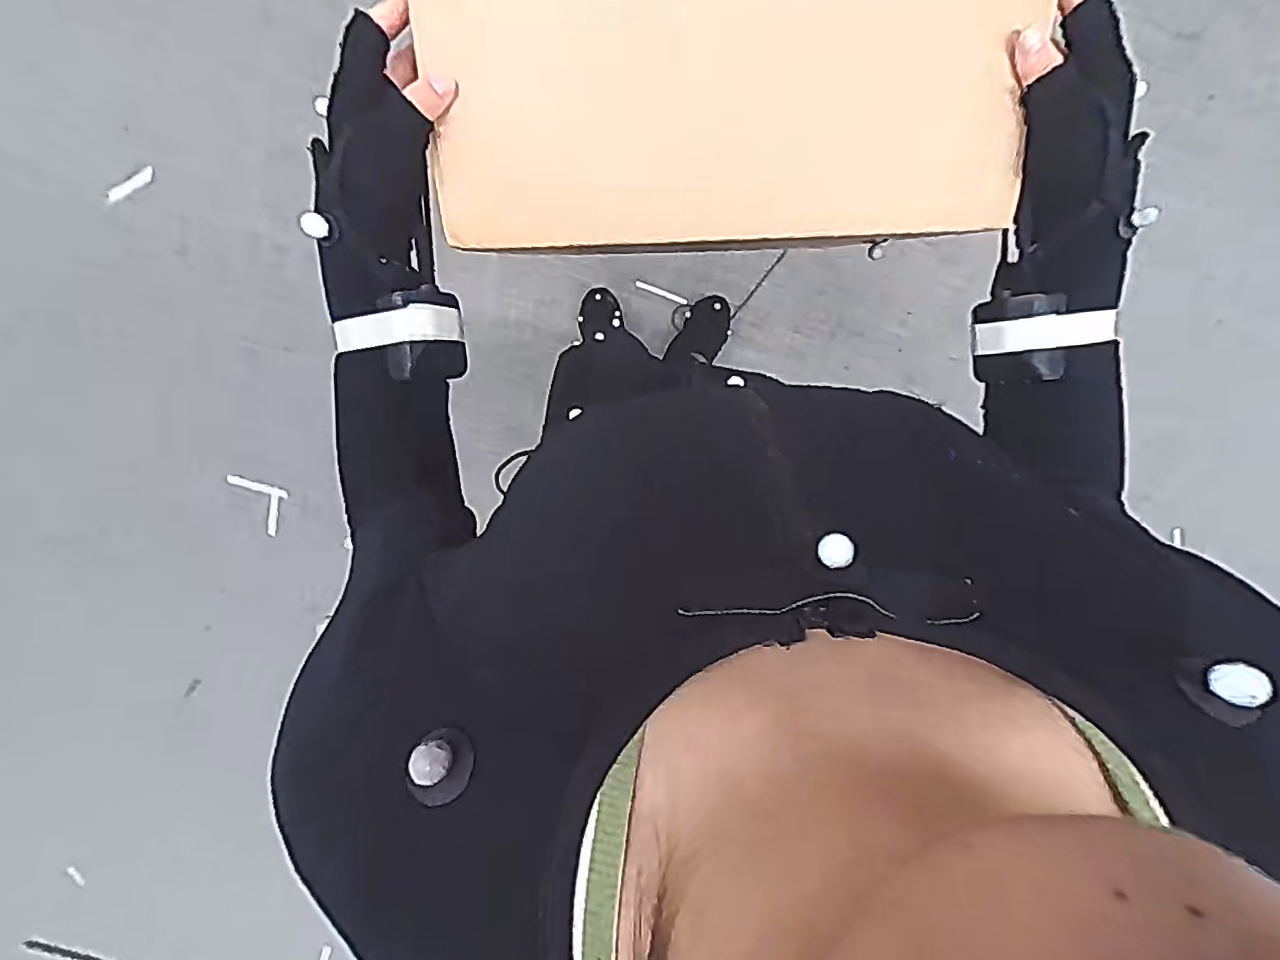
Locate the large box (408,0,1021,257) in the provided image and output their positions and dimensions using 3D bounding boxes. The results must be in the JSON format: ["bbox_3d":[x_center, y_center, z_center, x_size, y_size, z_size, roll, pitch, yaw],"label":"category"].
[{"bbox_3d":[0.046,-0.375,0.478,0.408,0.320,0.320,-3,111,-1],"label":"large box"}]

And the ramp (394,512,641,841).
[{"bbox_3d":[-0.387,0.625,1.659,0.509,0.206,0.991,18,108,-4],"label":"ramp"}]
